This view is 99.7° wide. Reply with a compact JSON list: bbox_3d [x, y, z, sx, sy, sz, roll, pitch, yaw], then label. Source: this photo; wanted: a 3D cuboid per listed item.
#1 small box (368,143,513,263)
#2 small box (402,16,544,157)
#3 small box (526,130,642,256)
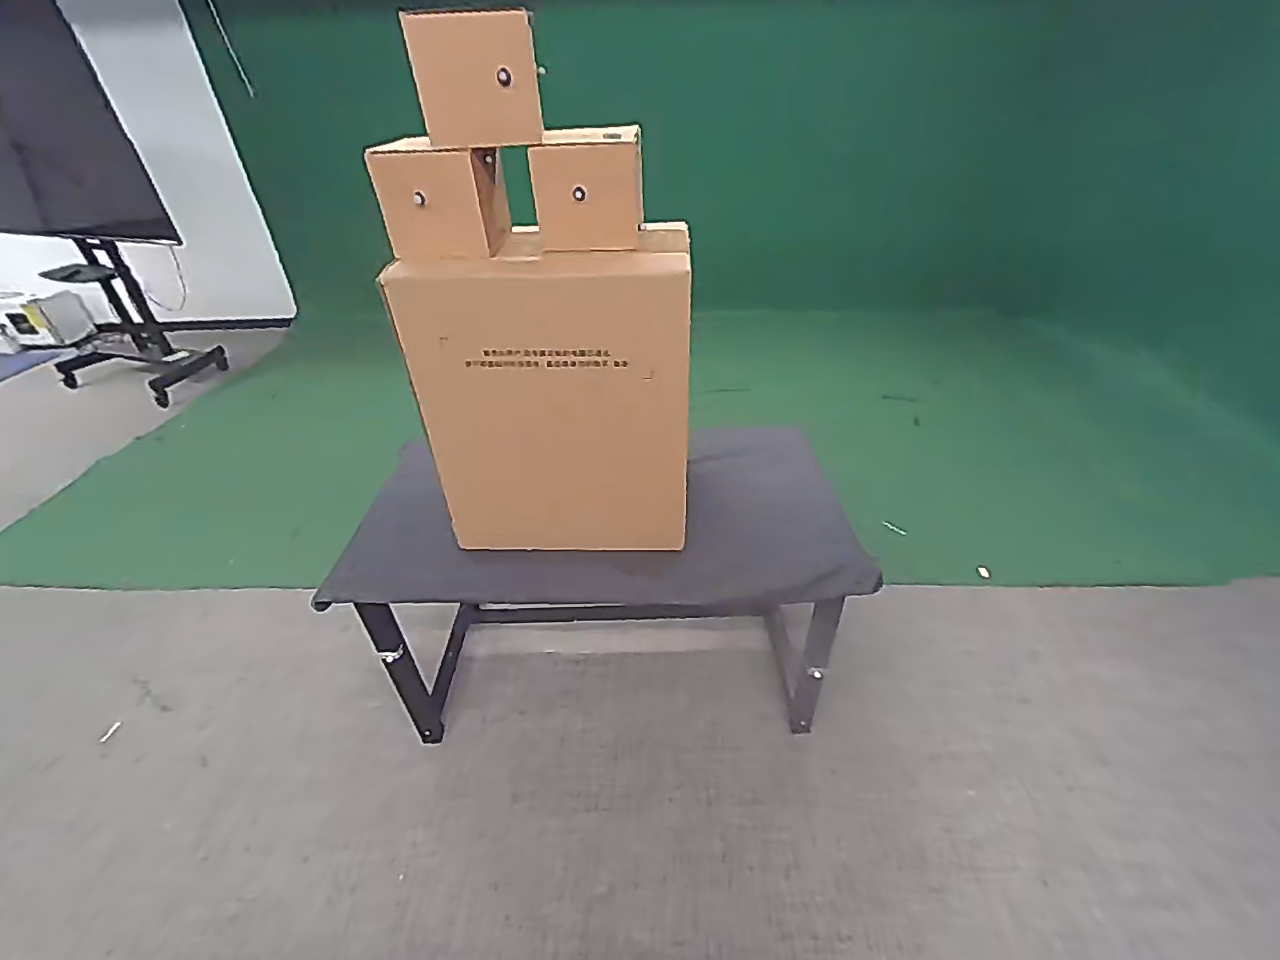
[{"bbox_3d":[-0.346,-0.500,0.975,0.179,0.176,0.168,1,40,4],"label":"small box"},{"bbox_3d":[-0.254,-0.631,0.873,0.179,0.176,0.168,-7,38,-3],"label":"small box"},{"bbox_3d":[-0.089,-0.517,0.976,0.179,0.176,0.168,0,40,5],"label":"small box"}]
